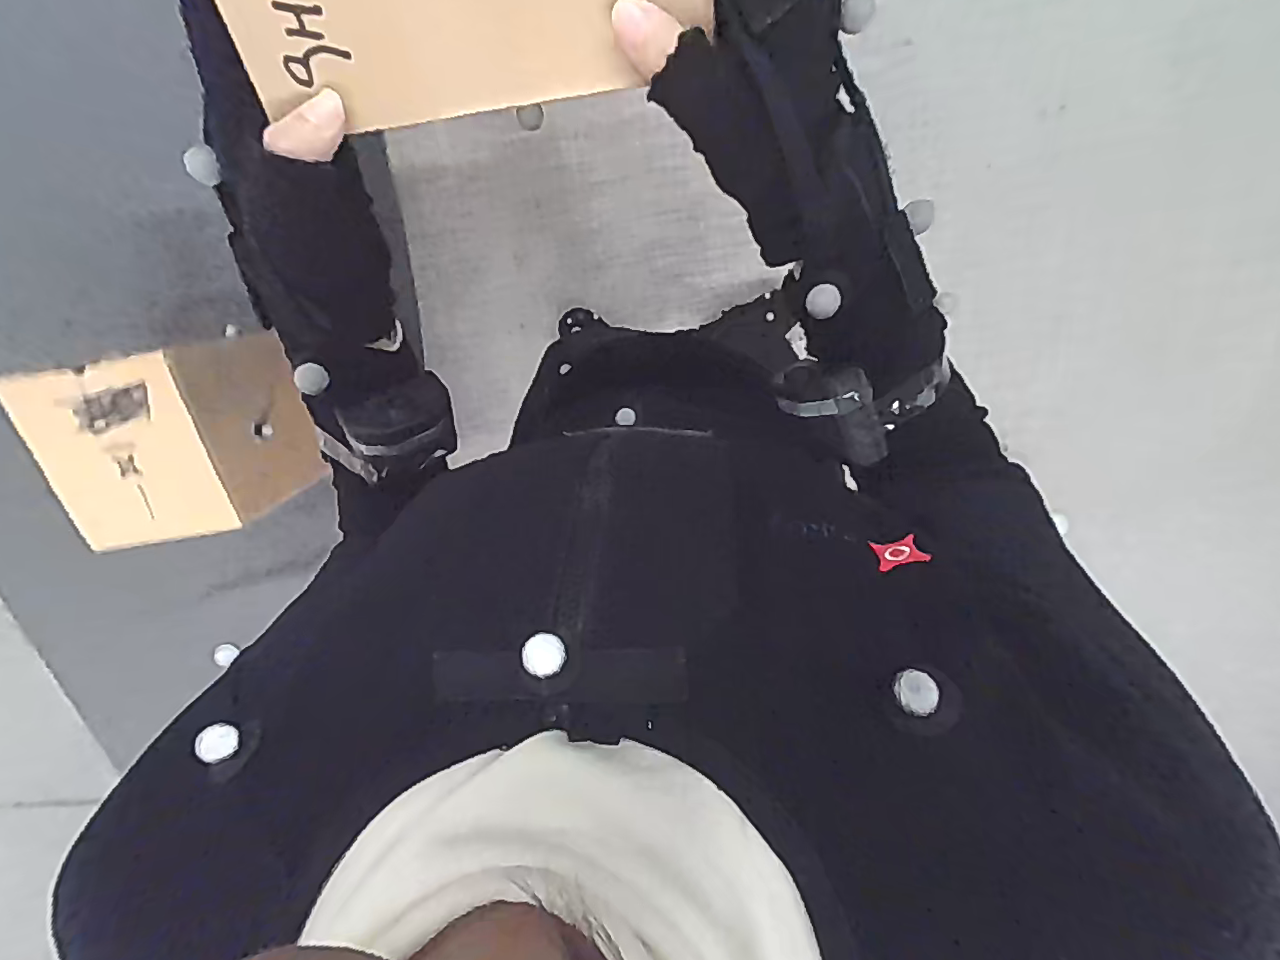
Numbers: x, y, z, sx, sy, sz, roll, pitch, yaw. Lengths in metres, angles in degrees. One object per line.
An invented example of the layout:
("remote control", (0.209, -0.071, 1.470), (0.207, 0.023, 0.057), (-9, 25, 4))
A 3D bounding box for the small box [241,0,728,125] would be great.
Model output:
("small box", (-0.066, -0.262, 0.226), (0.179, 0.176, 0.168), (-8, 128, 0))

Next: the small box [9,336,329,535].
("small box", (-0.484, -0.059, 0.591), (0.168, 0.176, 0.179), (-5, 111, 5))
